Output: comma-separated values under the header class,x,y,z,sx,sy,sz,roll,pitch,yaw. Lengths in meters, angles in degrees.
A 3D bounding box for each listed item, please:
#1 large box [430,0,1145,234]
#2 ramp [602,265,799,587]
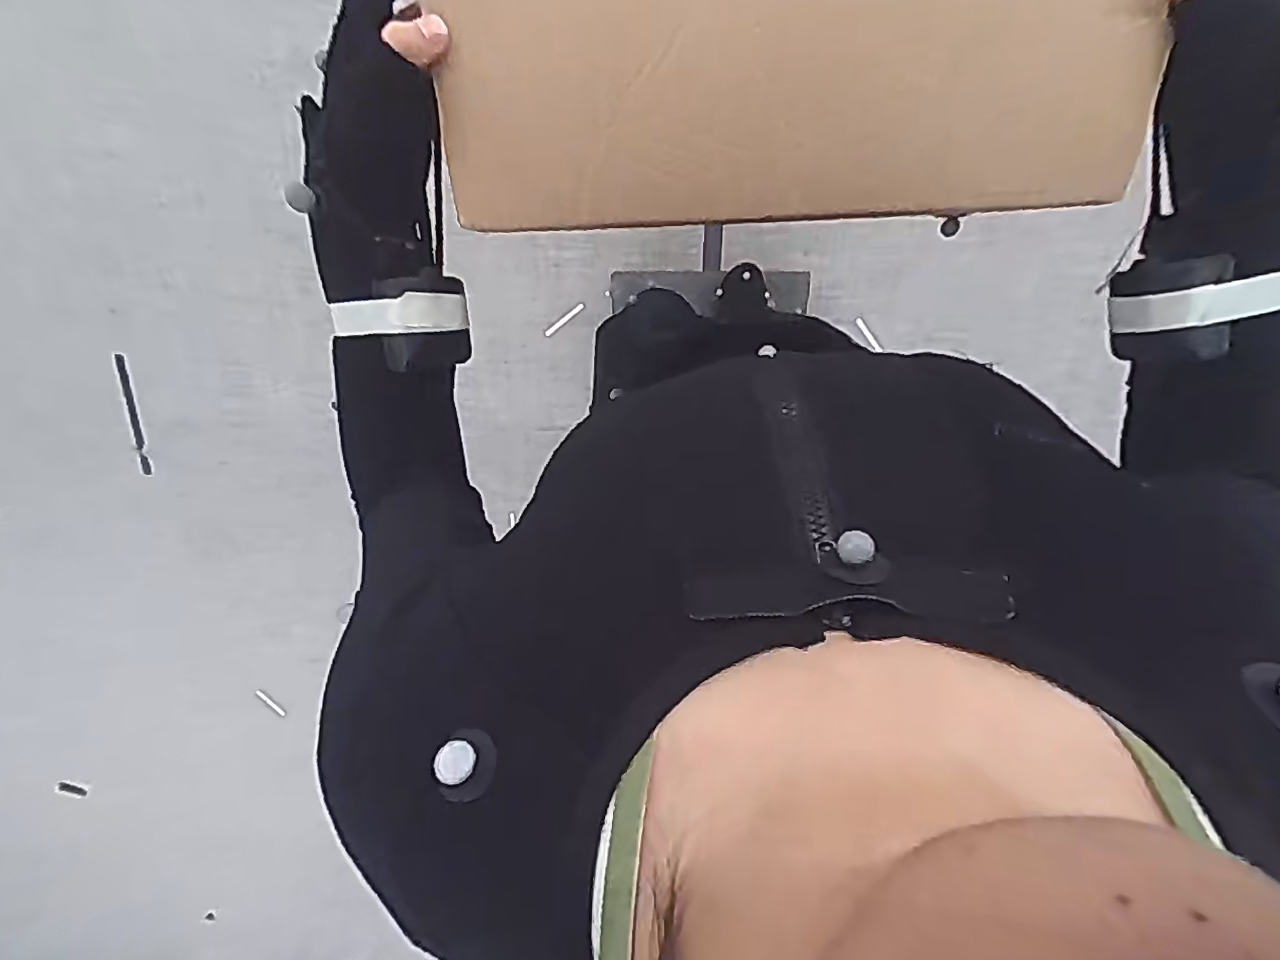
class,x,y,z,sx,sy,sz,roll,pitch,yaw
large box,0.083,-0.373,0.413,0.408,0.320,0.320,-1,115,2
ramp,0.152,-0.091,1.564,0.509,0.206,0.991,0,108,3
